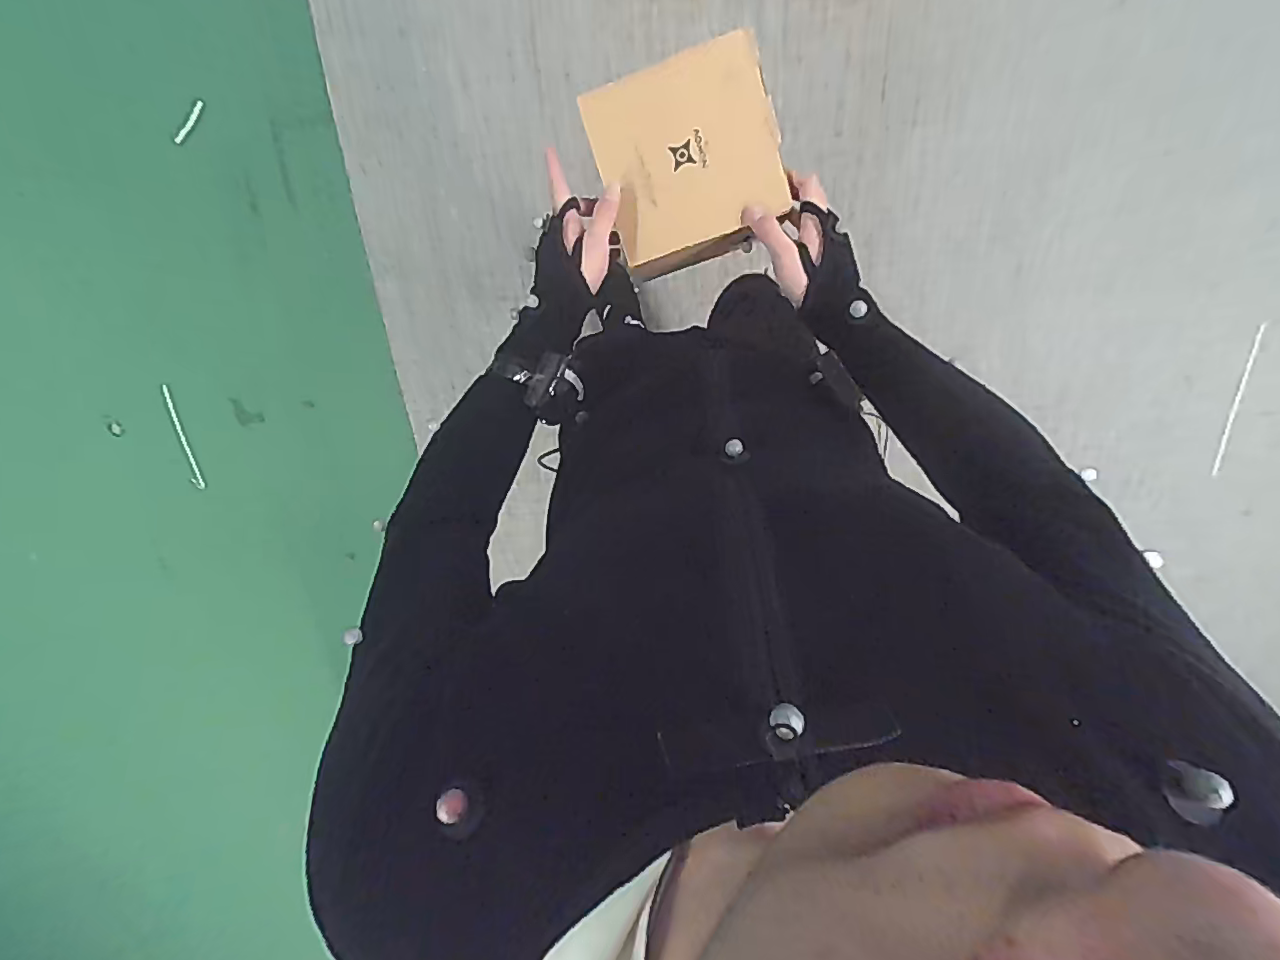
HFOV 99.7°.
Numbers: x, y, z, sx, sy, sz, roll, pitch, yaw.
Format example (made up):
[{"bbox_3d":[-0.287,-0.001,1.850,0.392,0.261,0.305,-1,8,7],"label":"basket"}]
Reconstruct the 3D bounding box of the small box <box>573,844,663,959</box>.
[{"bbox_3d":[-0.047,0.918,1.162,0.179,0.176,0.168,-4,113,-2],"label":"small box"}]

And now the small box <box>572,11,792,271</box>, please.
[{"bbox_3d":[0.048,-0.340,0.584,0.179,0.176,0.168,-15,103,10],"label":"small box"}]
